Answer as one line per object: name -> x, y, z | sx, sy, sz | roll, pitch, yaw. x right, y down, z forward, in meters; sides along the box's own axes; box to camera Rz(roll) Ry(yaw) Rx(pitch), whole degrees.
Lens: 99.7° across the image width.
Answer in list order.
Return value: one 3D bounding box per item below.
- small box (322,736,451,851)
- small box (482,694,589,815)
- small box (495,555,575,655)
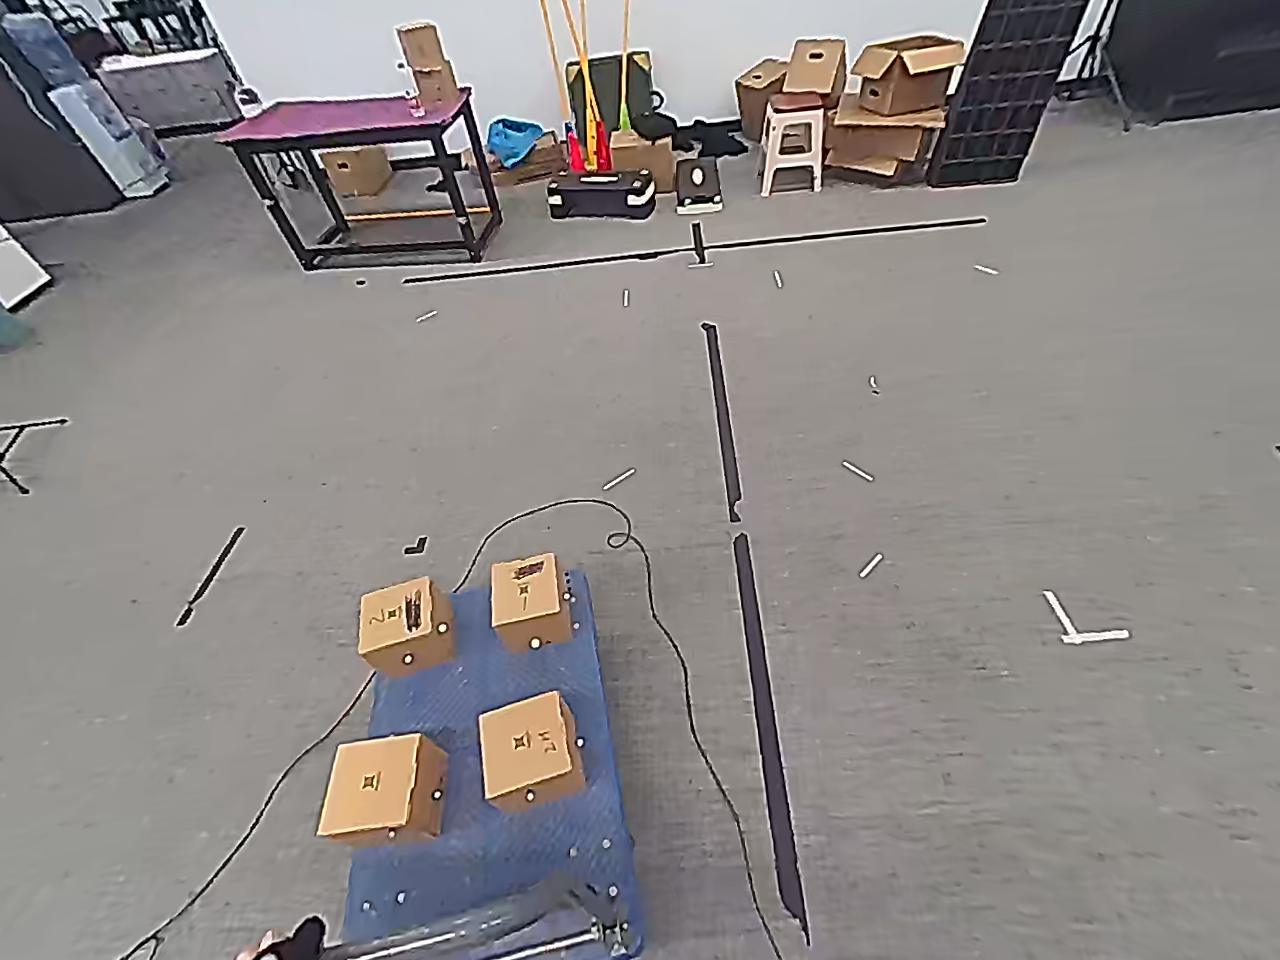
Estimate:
small box -> -0.520, 0.662, 1.136 | 0.179, 0.176, 0.168 | -8, 48, -1
small box -> -0.221, 0.591, 1.156 | 0.179, 0.176, 0.168 | -16, 49, -6
small box -> -0.270, 0.324, 1.395 | 0.168, 0.176, 0.179 | -12, 50, -2
